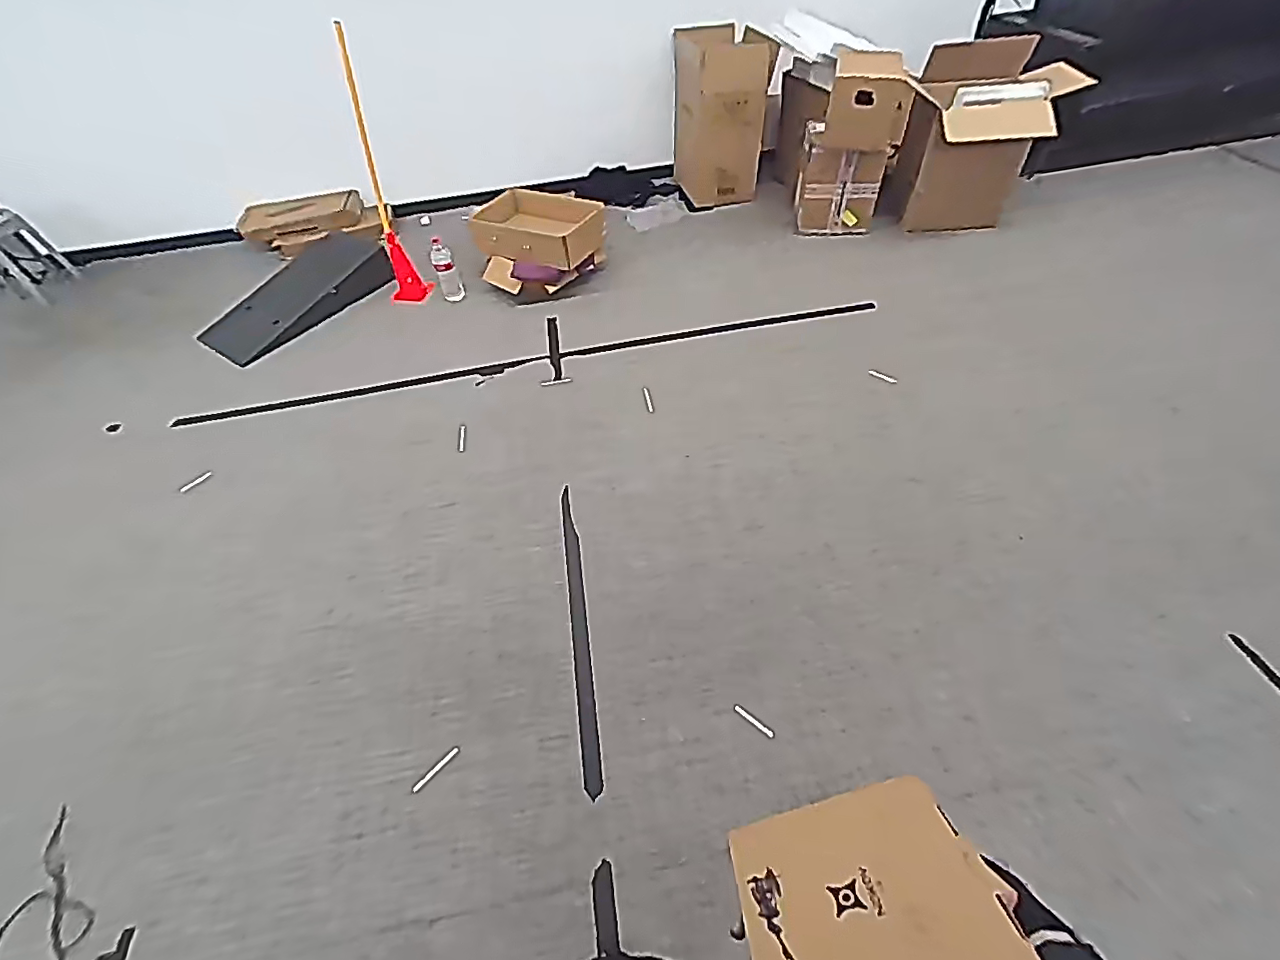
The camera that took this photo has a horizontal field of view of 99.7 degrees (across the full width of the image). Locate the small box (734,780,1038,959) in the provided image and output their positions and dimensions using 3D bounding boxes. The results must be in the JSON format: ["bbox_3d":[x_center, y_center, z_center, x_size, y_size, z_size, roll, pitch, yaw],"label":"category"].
[{"bbox_3d":[0.192,0.383,0.418,0.179,0.176,0.168,-20,12,4],"label":"small box"}]
